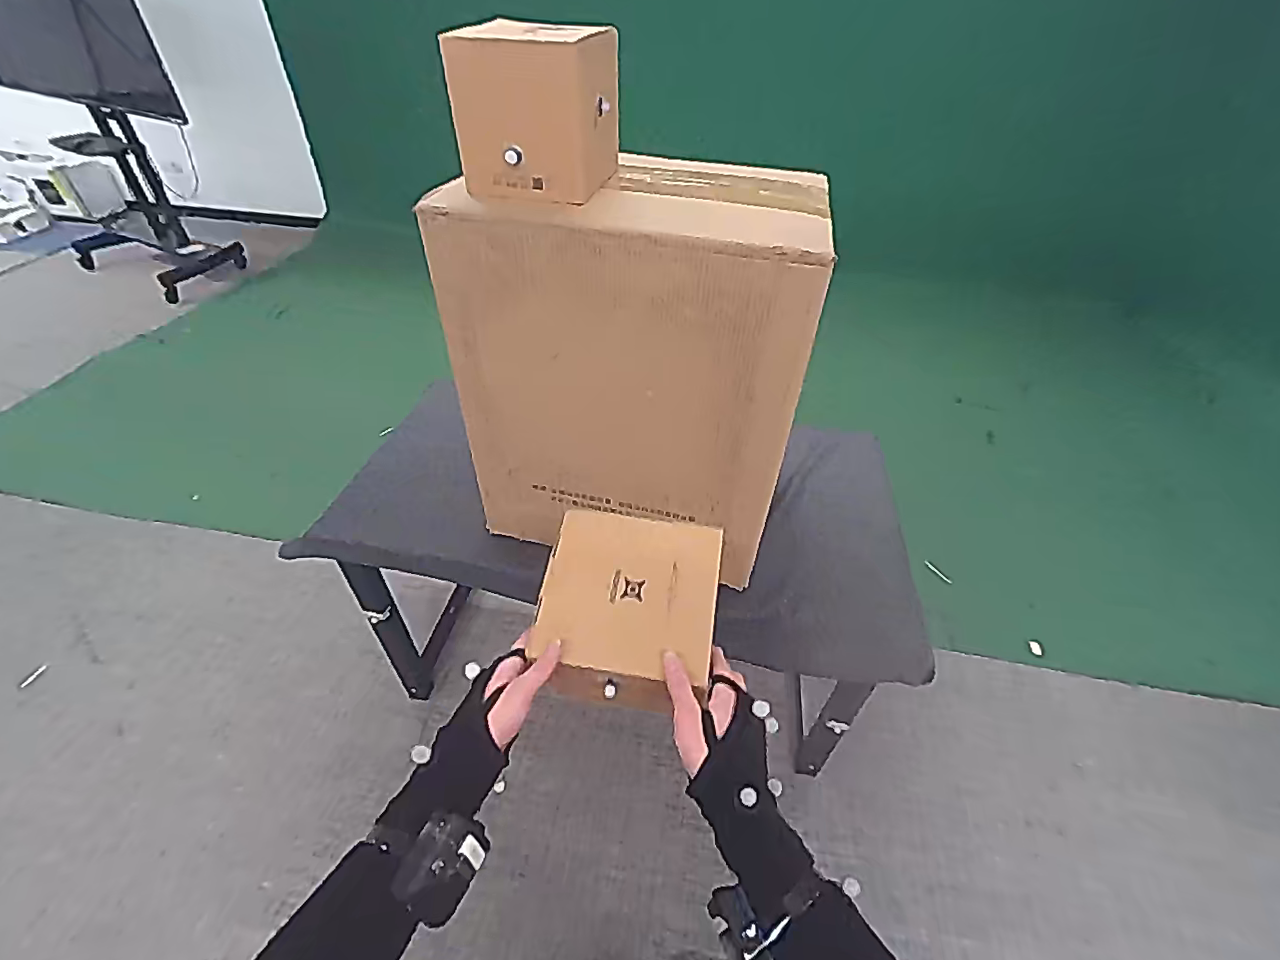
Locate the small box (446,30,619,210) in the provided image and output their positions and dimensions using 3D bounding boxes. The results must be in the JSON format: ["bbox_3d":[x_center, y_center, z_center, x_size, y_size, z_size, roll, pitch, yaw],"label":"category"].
[{"bbox_3d":[-0.129,-0.483,0.723,0.168,0.176,0.179,10,45,9],"label":"small box"}]

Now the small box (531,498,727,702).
[{"bbox_3d":[-0.003,0.140,0.610,0.179,0.176,0.168,7,58,6],"label":"small box"}]
